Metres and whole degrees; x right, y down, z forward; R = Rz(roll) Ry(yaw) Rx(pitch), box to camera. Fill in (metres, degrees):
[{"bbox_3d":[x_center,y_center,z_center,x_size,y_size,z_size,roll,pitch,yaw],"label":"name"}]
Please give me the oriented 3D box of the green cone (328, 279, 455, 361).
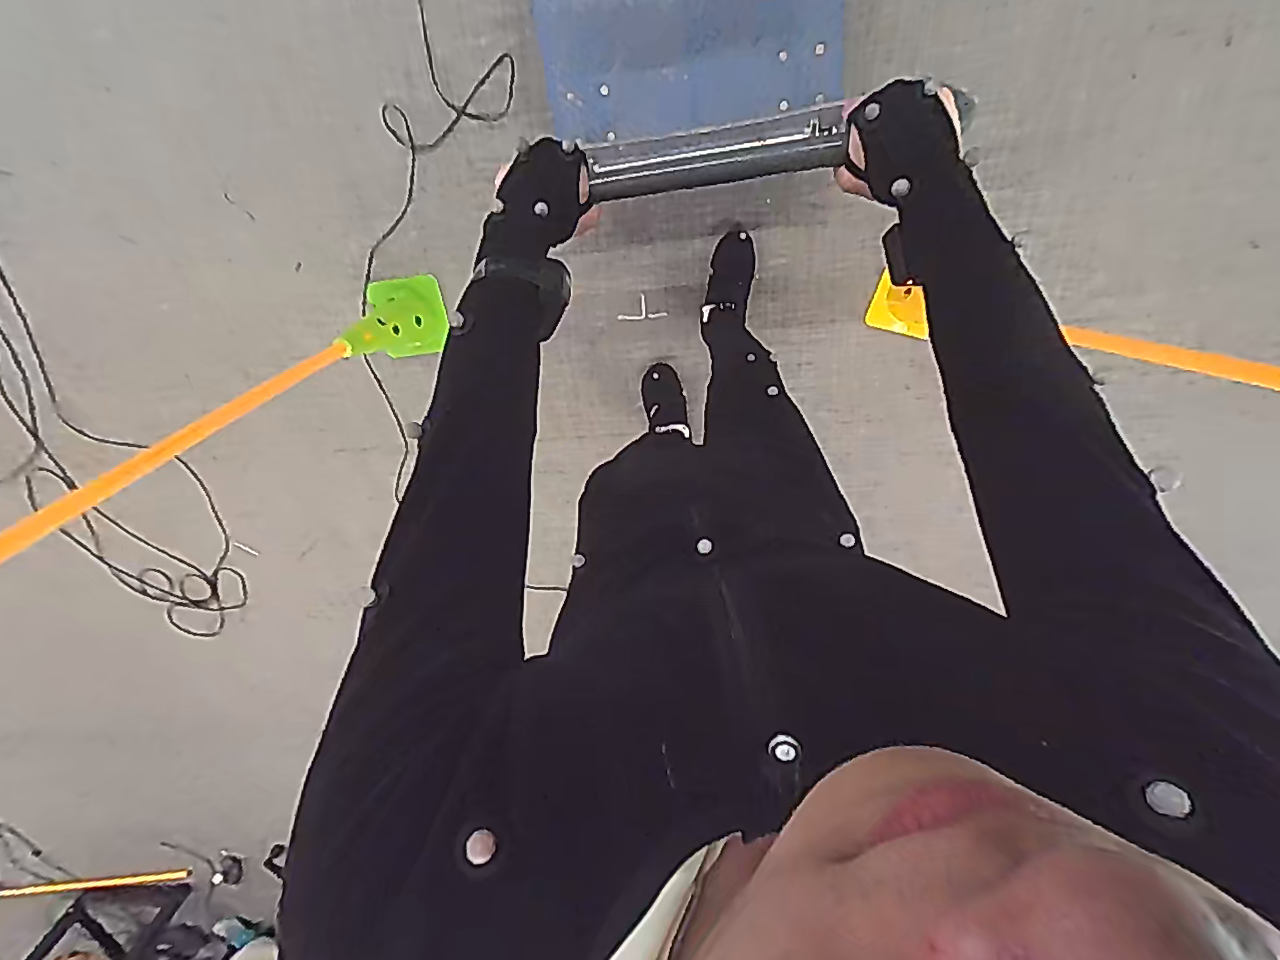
[{"bbox_3d":[-0.631,-0.357,1.314,0.202,0.368,0.200,-6,115,8],"label":"green cone"}]
